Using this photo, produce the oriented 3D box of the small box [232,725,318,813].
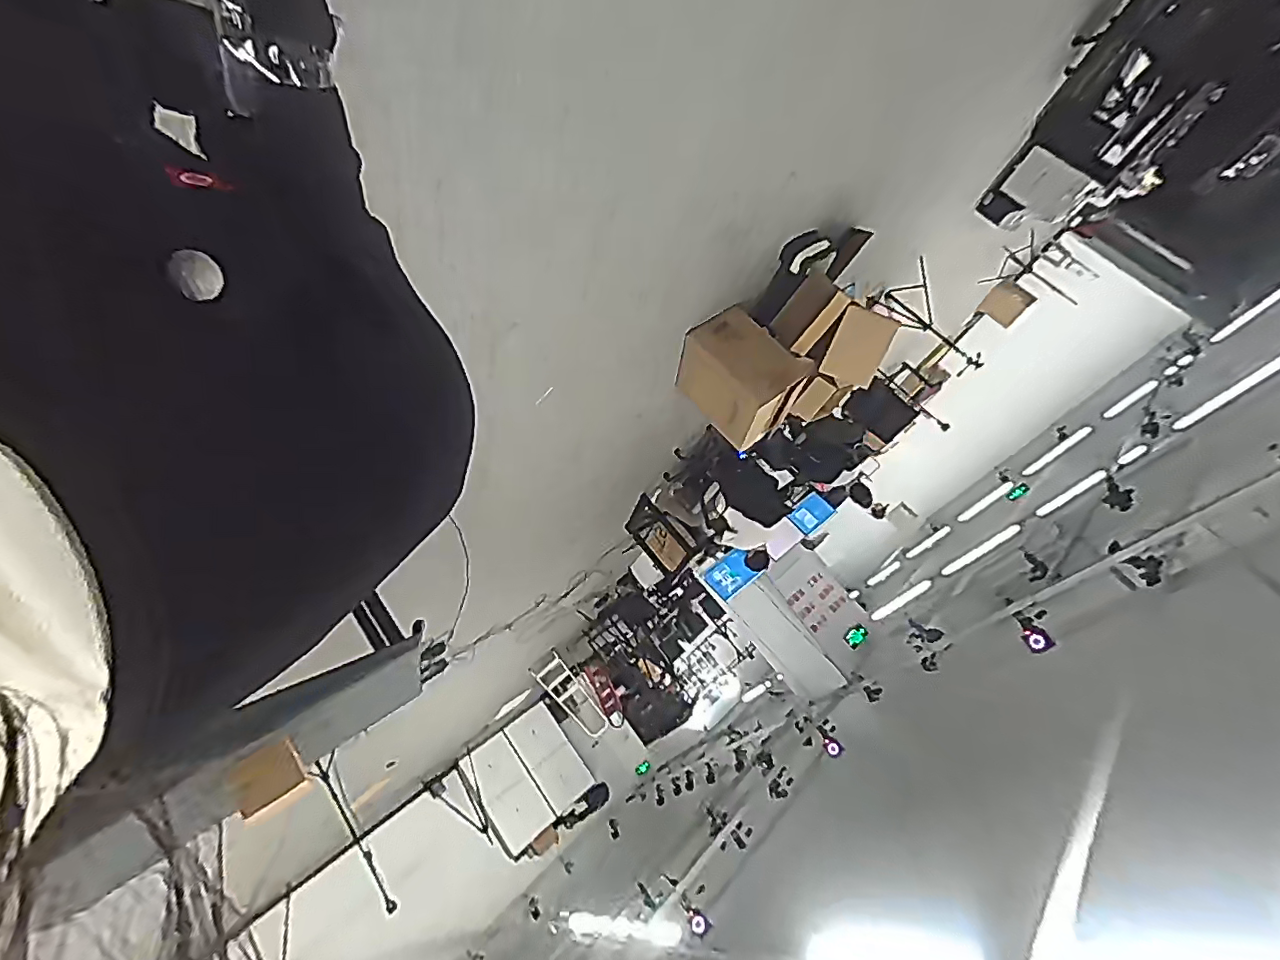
[{"bbox_3d":[-1.174,0.927,1.736,0.179,0.176,0.168,-29,161,-35],"label":"small box"}]
